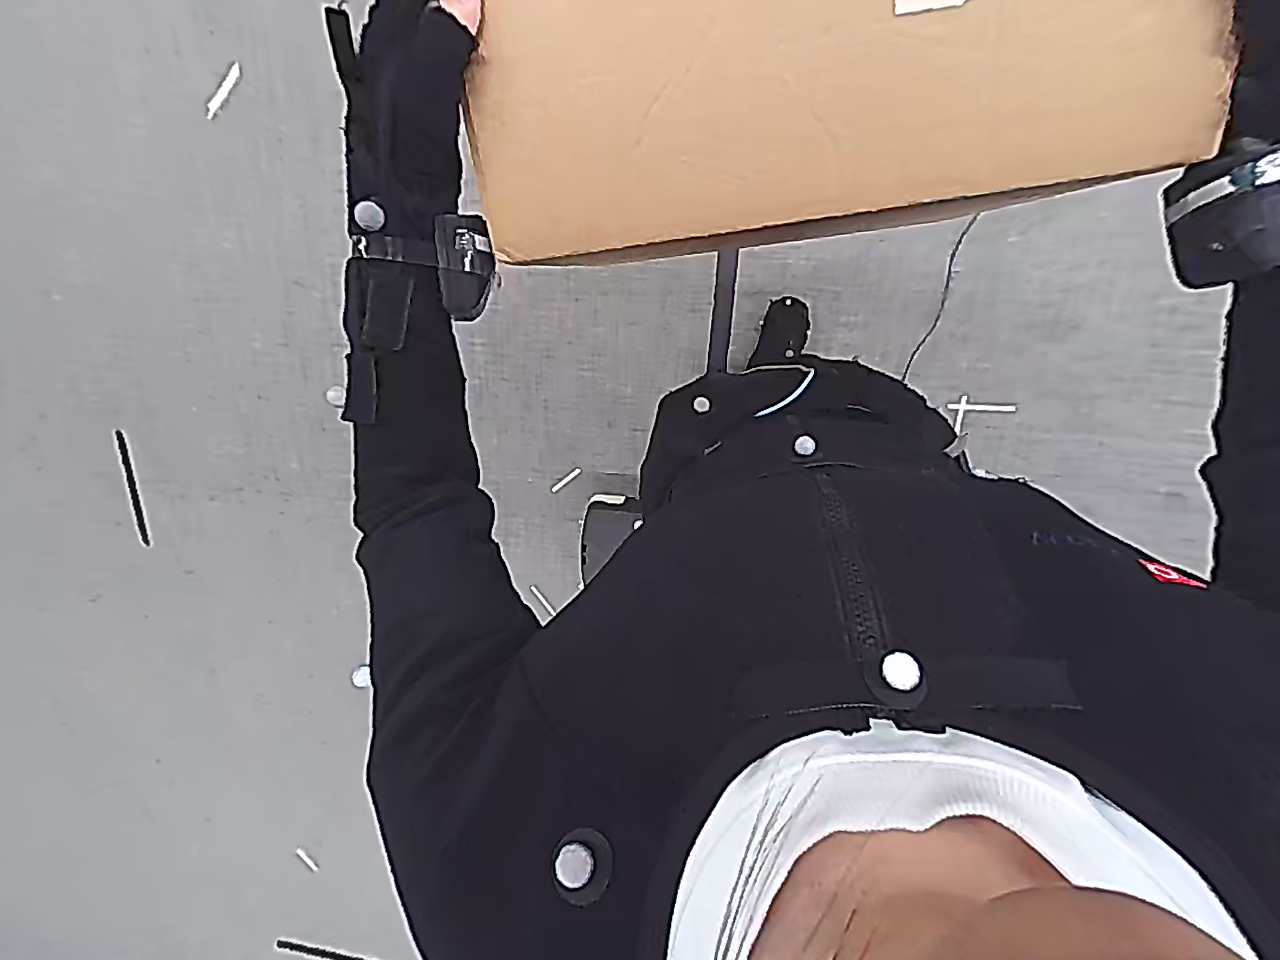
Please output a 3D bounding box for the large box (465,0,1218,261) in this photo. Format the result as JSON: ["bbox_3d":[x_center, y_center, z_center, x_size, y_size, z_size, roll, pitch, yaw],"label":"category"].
[{"bbox_3d":[0.105,-0.365,0.416,0.408,0.320,0.320,-5,111,9],"label":"large box"}]
